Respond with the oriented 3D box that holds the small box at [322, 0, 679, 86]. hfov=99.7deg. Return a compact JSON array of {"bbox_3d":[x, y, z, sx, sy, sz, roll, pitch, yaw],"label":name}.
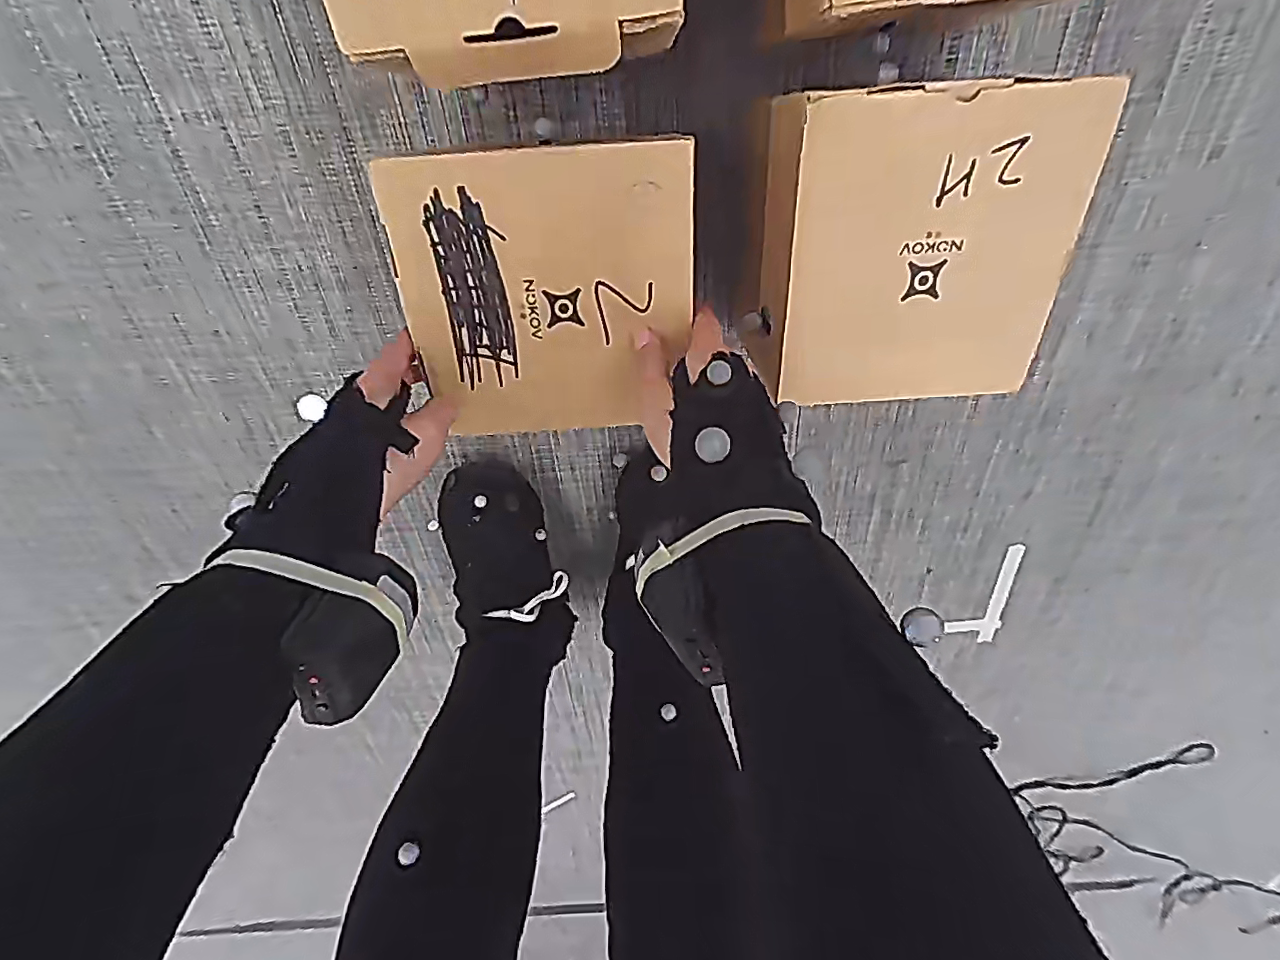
[{"bbox_3d":[-0.069,-0.318,0.278,0.168,0.176,0.179,-5,121,1],"label":"small box"}]
